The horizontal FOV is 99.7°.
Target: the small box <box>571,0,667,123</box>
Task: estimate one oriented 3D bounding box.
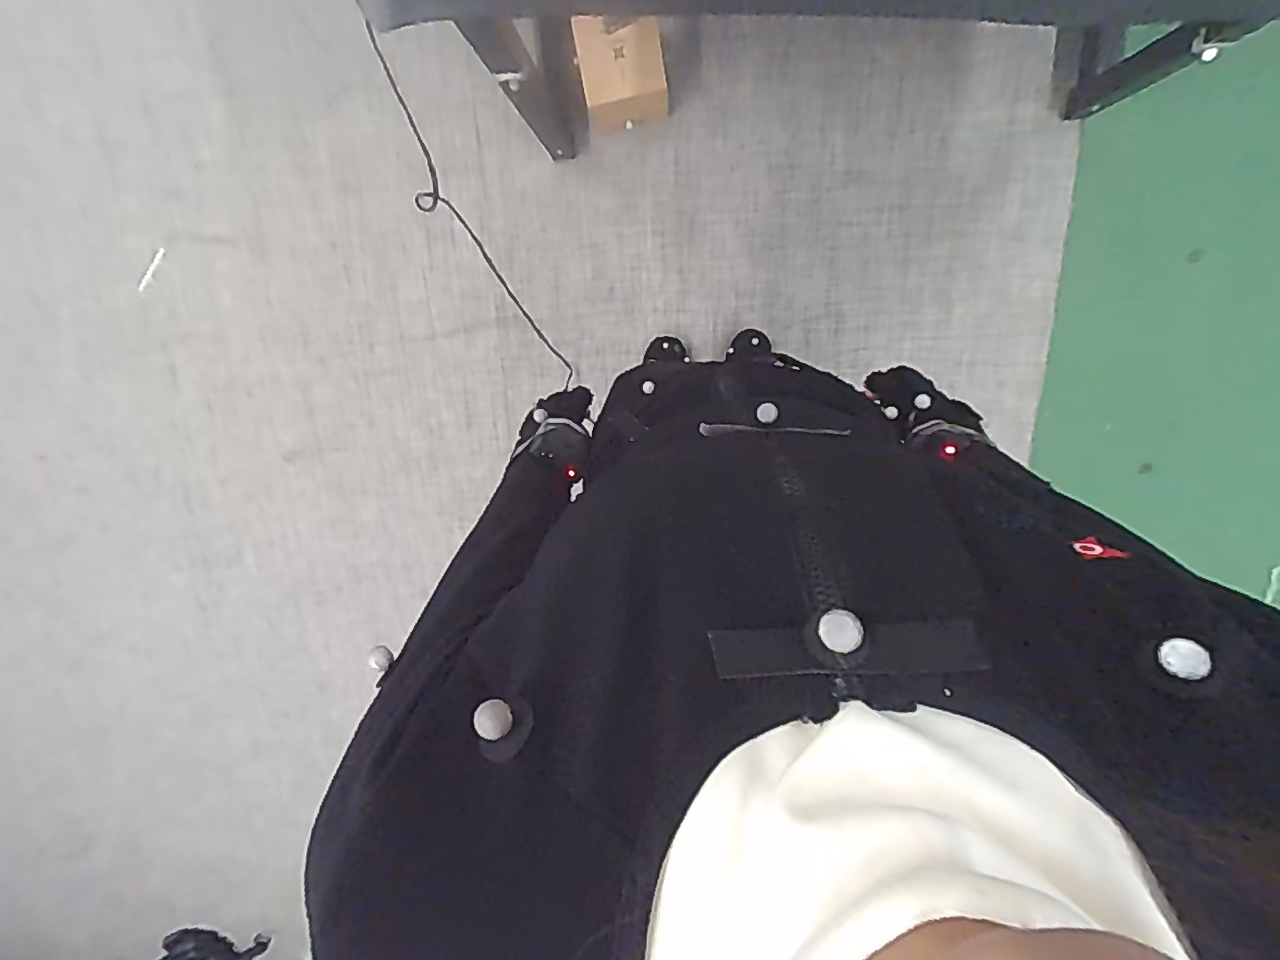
[{"bbox_3d":[-0.038,-0.881,1.121,0.168,0.176,0.179,-9,106,6],"label":"small box"}]
